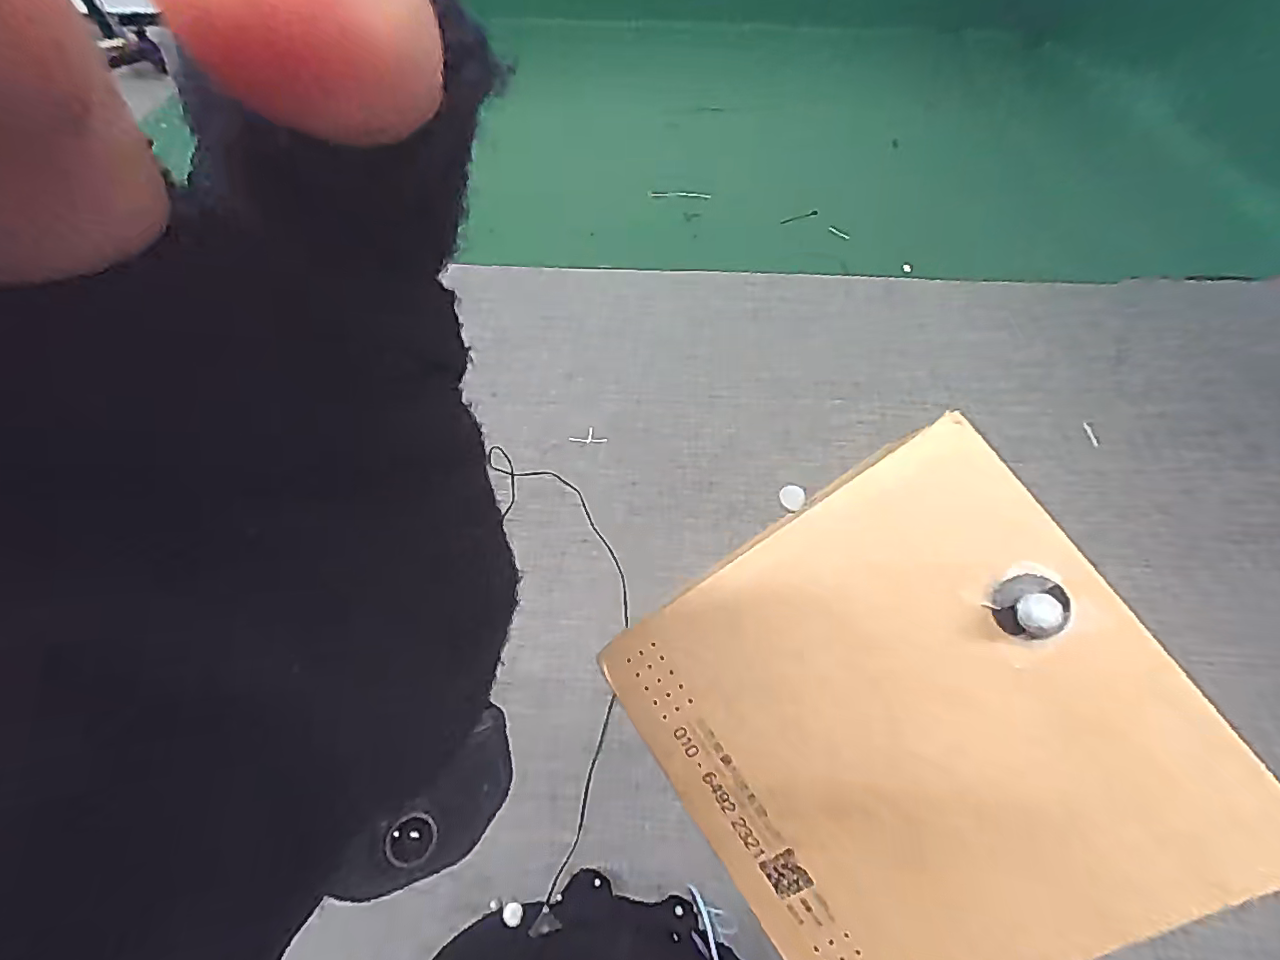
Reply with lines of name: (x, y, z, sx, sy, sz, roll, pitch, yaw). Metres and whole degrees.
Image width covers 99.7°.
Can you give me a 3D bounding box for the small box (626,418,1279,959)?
small box: (0.117, 0.092, 0.280, 0.176, 0.179, 0.168, -38, 79, 15)
